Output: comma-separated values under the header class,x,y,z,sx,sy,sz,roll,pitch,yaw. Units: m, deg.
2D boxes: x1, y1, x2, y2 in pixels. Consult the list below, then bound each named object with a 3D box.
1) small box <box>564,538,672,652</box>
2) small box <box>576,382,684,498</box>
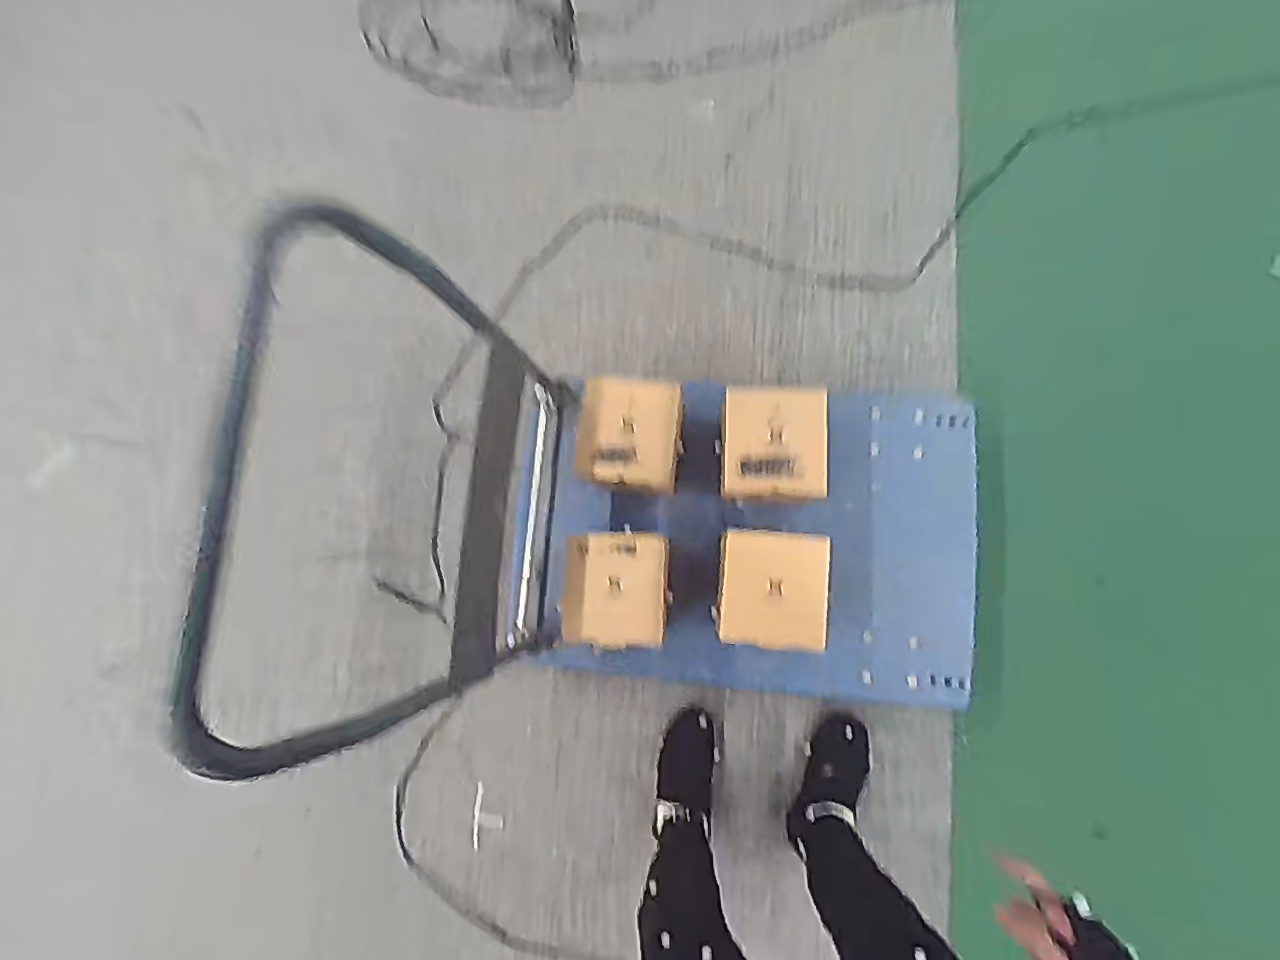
class,x,y,z,sx,sy,sz,roll,pitch,yaw
small box,-0.031,0.195,0.962,0.168,0.176,0.179,2,83,6
small box,-0.009,-0.065,0.995,0.168,0.176,0.179,7,83,6
